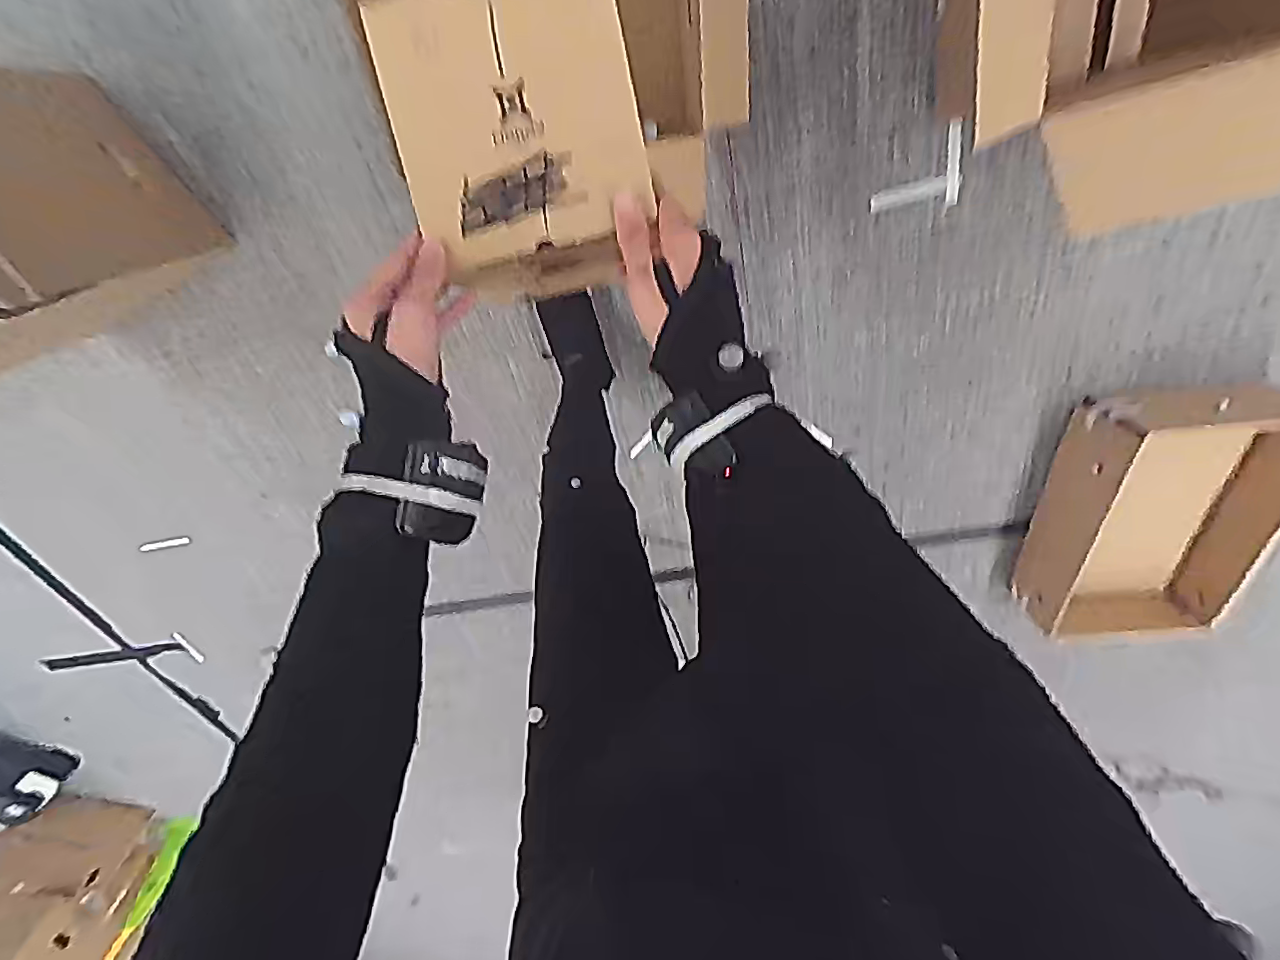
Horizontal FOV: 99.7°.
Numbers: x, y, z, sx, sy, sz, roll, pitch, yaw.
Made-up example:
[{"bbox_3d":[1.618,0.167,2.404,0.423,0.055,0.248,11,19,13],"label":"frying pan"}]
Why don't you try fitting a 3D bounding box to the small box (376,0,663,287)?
[{"bbox_3d":[-0.075,-0.266,0.441,0.168,0.176,0.179,-11,100,4],"label":"small box"}]
